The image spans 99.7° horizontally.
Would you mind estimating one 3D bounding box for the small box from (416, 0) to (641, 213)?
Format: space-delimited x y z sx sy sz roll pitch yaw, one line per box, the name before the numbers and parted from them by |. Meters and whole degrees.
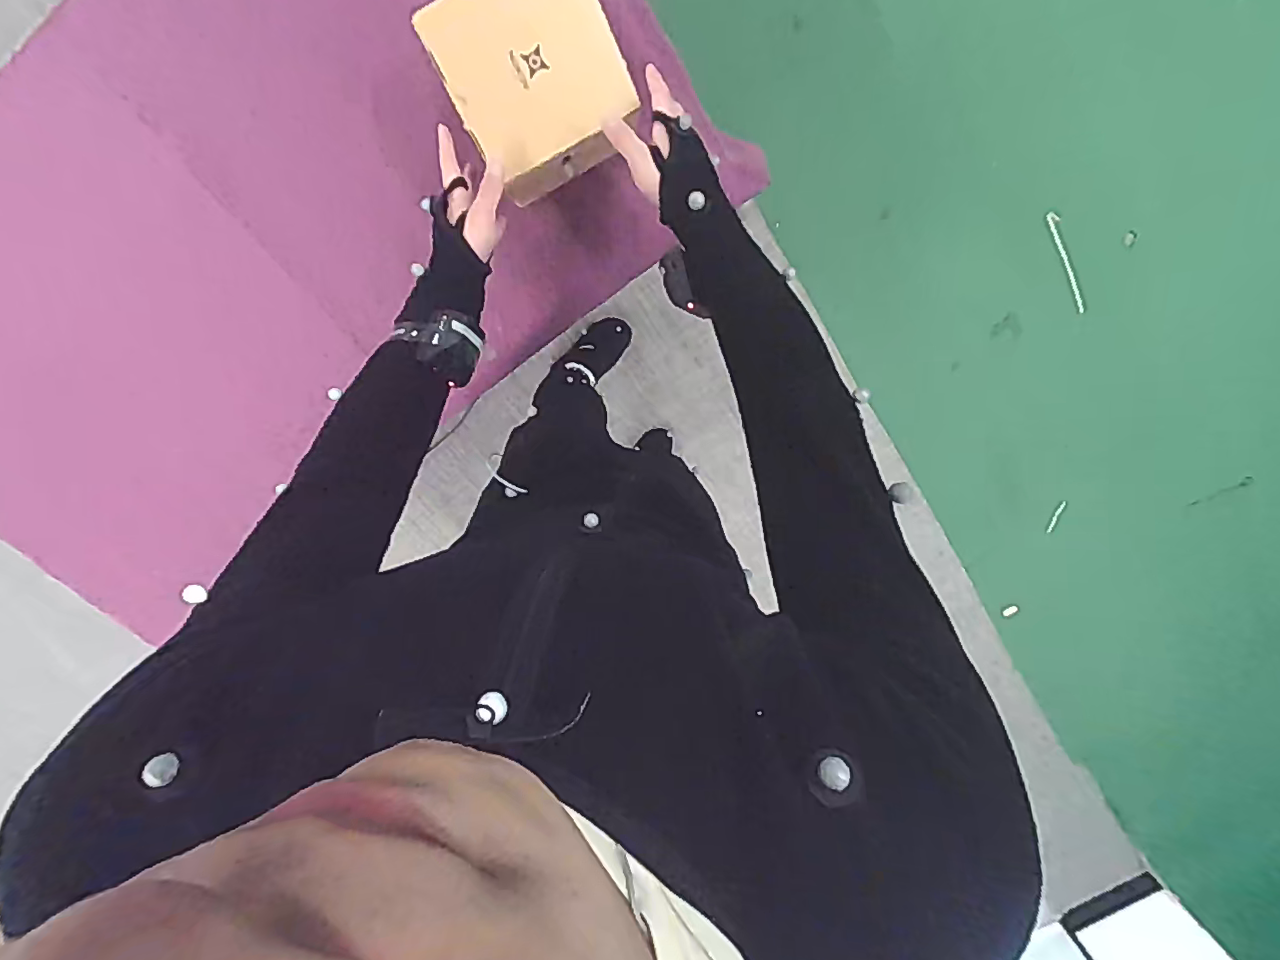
small box | -0.116 -0.434 0.623 0.179 0.176 0.168 -26 109 7
